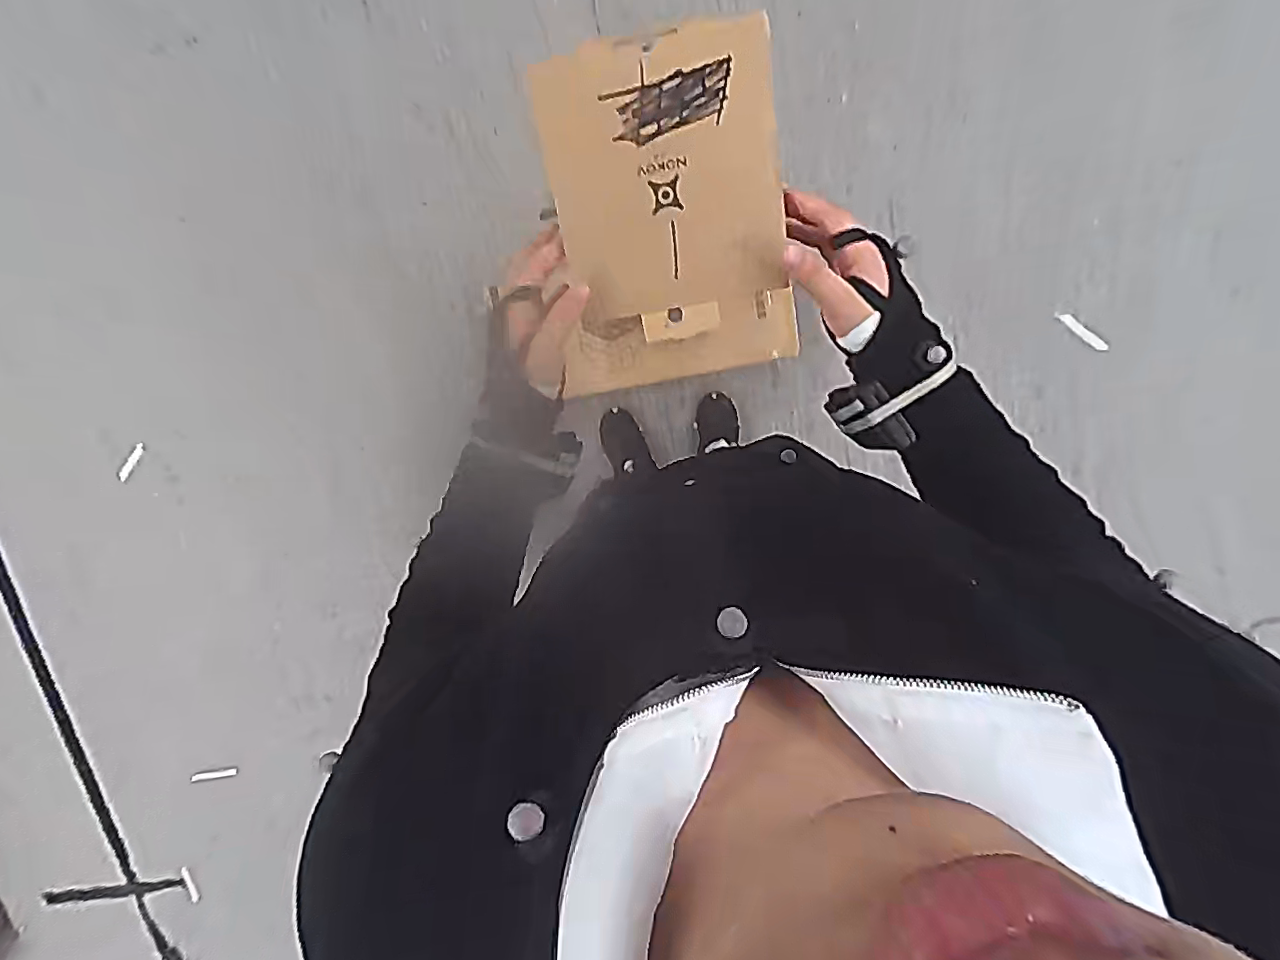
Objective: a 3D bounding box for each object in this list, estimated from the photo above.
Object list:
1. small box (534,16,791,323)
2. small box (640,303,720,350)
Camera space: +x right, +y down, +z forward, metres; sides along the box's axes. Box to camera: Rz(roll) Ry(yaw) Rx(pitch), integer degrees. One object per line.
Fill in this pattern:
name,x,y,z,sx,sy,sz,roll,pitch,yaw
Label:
small box,0.023,-0.237,0.464,0.168,0.176,0.179,-9,107,6
small box,0.079,-0.404,1.230,0.168,0.176,0.179,-11,99,4
